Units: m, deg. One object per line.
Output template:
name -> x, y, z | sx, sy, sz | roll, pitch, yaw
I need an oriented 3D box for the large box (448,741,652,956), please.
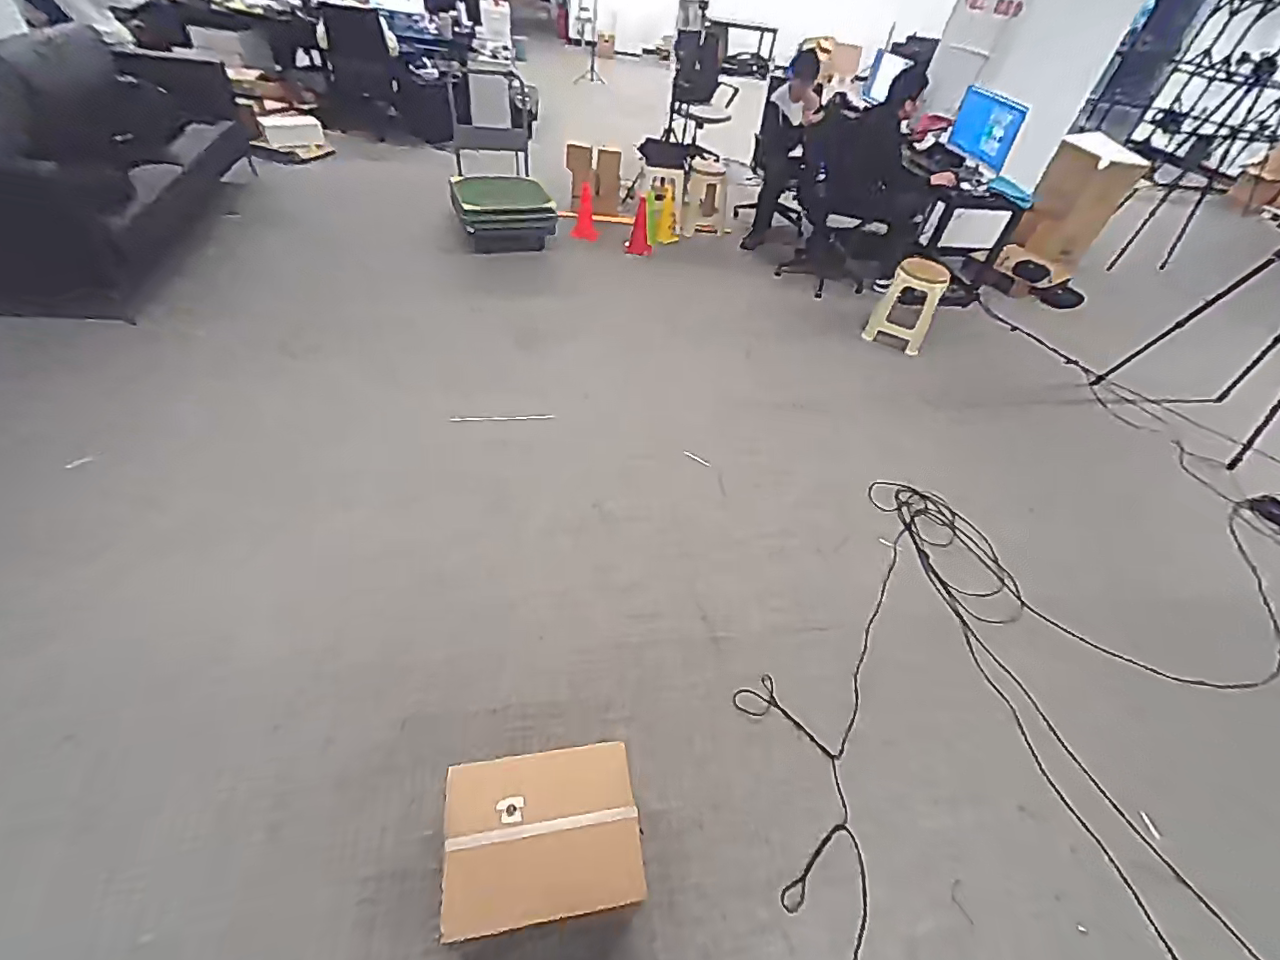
large box -> -0.212, 0.855, 1.261 | 0.408, 0.320, 0.320 | -4, 45, -12
